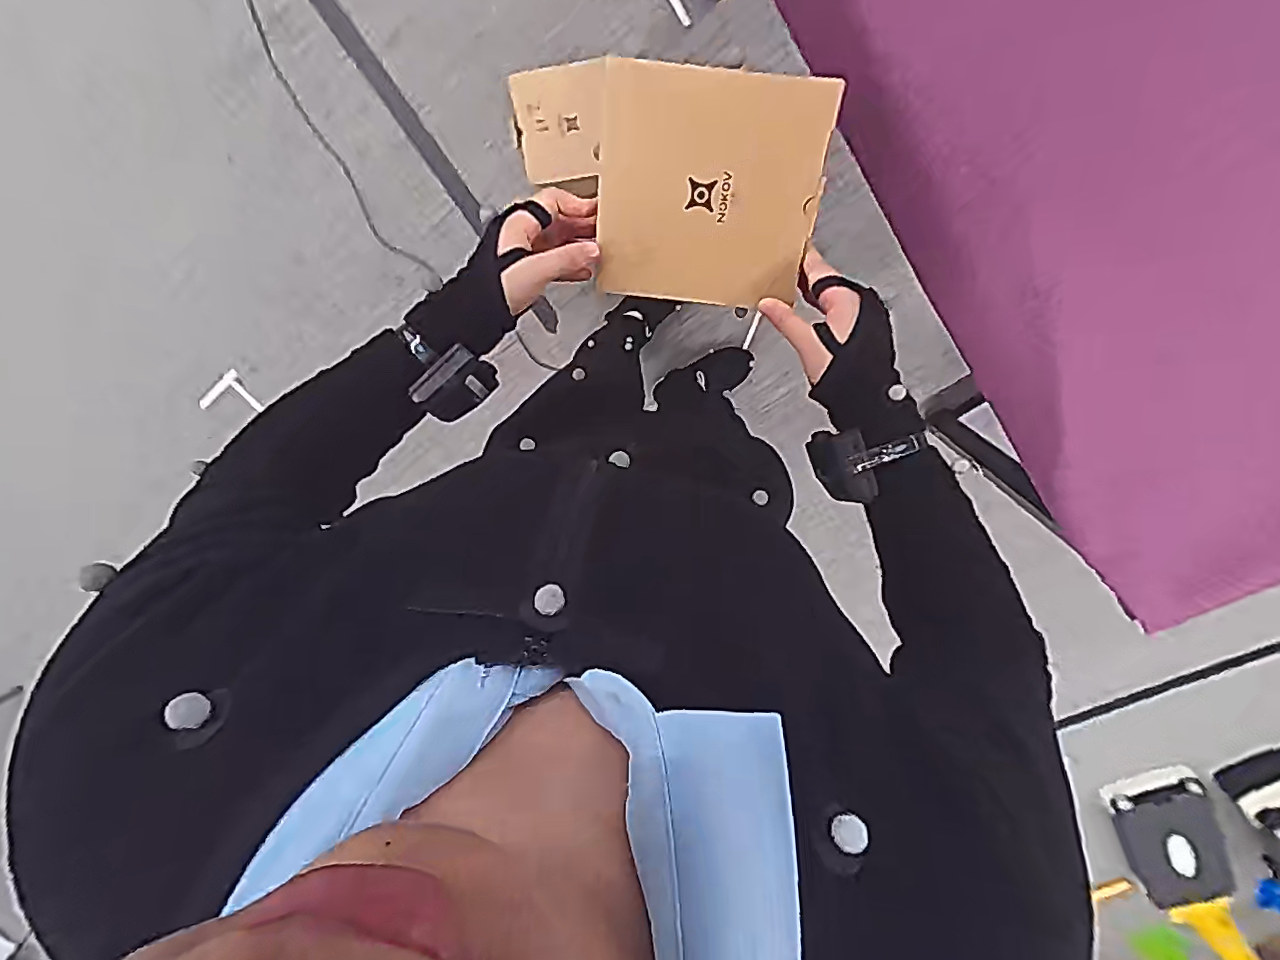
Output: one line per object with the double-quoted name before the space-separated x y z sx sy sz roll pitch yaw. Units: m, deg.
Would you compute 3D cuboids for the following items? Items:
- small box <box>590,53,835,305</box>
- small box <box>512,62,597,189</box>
"small box" 0.054 -0.268 0.499 0.179 0.176 0.168 5 119 1
"small box" -0.113 -0.636 0.988 0.179 0.176 0.168 -4 115 8
